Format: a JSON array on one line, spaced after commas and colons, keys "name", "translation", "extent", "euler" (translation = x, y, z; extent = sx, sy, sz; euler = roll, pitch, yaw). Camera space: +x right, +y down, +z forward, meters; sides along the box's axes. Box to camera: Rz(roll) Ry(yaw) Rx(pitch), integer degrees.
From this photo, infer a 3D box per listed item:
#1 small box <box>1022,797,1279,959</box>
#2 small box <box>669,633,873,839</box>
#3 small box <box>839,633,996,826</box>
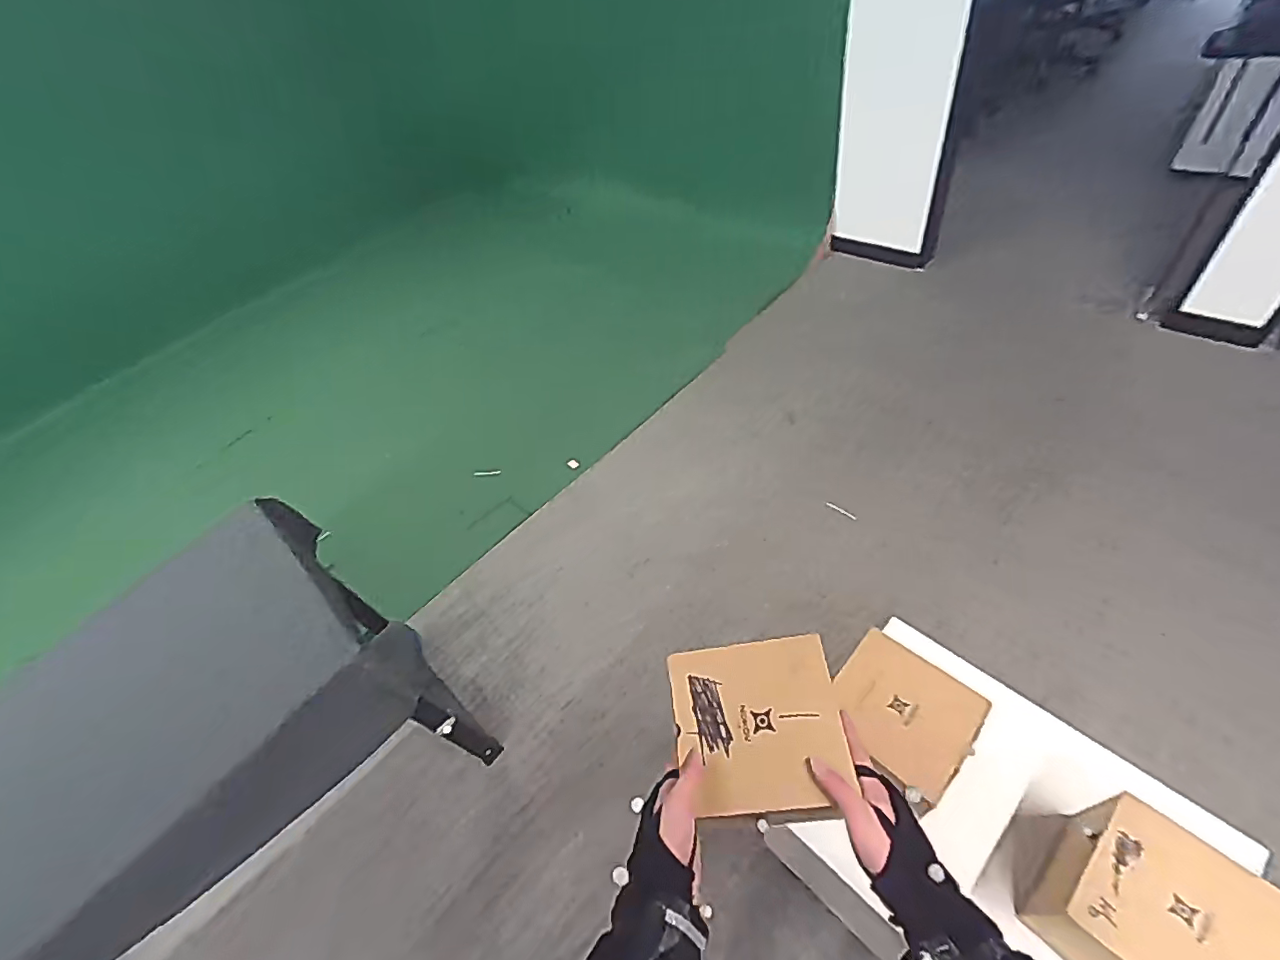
[{"name": "small box", "translation": [0.586, 0.506, 0.612], "extent": [0.168, 0.176, 0.179], "euler": [-40, 54, -23]}, {"name": "small box", "translation": [0.139, 0.293, 0.607], "extent": [0.179, 0.176, 0.168], "euler": [-11, 52, 7]}, {"name": "small box", "translation": [0.364, 0.364, 0.781], "extent": [0.179, 0.176, 0.168], "euler": [31, 59, 32]}]
